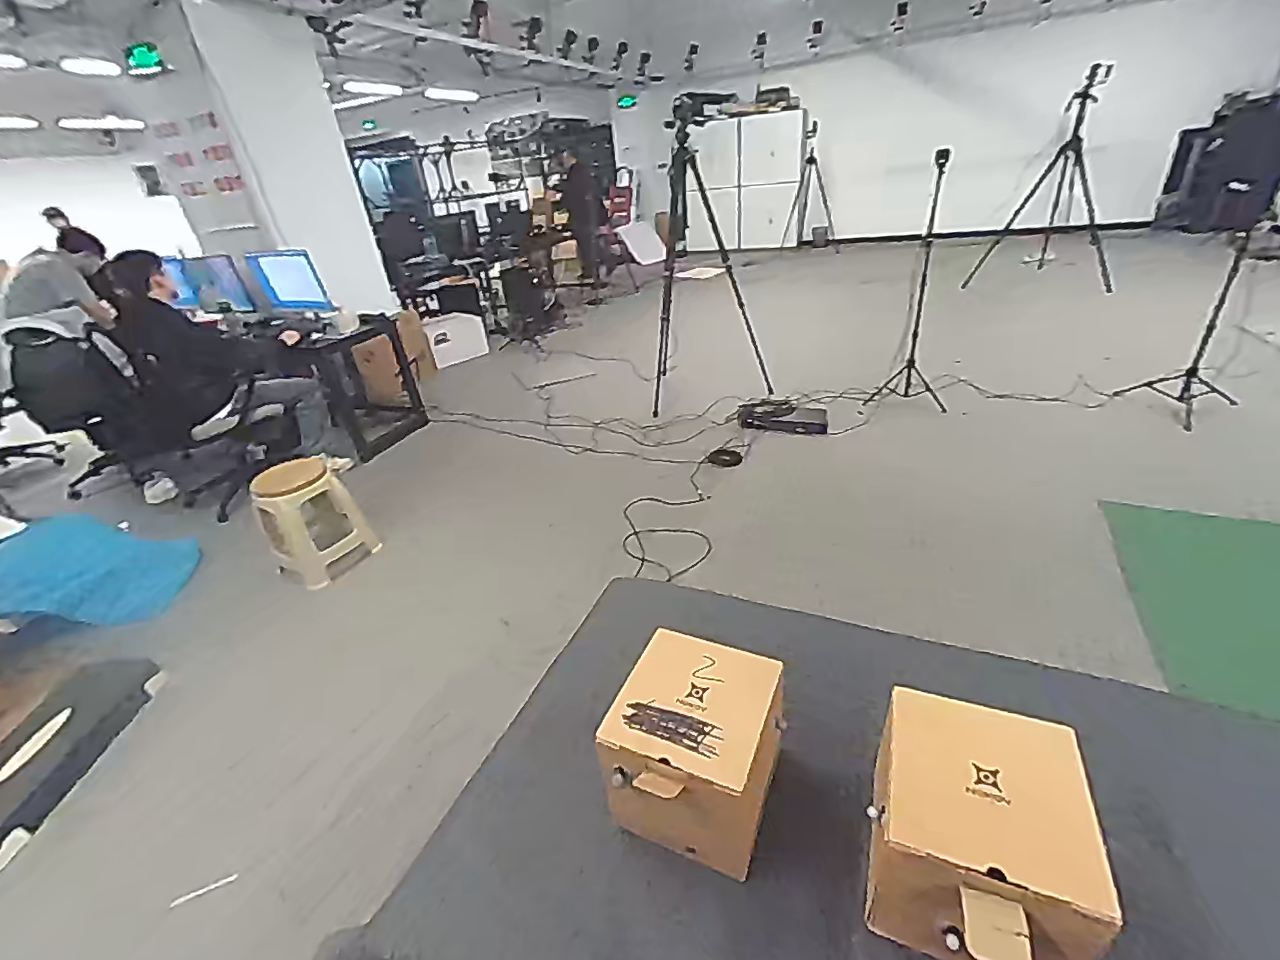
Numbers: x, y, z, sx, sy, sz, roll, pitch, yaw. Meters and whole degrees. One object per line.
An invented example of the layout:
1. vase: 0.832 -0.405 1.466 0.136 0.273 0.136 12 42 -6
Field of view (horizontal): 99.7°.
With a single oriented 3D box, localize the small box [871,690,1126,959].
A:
1. small box: 0.332 0.354 0.542 0.168 0.176 0.179 8 33 23
